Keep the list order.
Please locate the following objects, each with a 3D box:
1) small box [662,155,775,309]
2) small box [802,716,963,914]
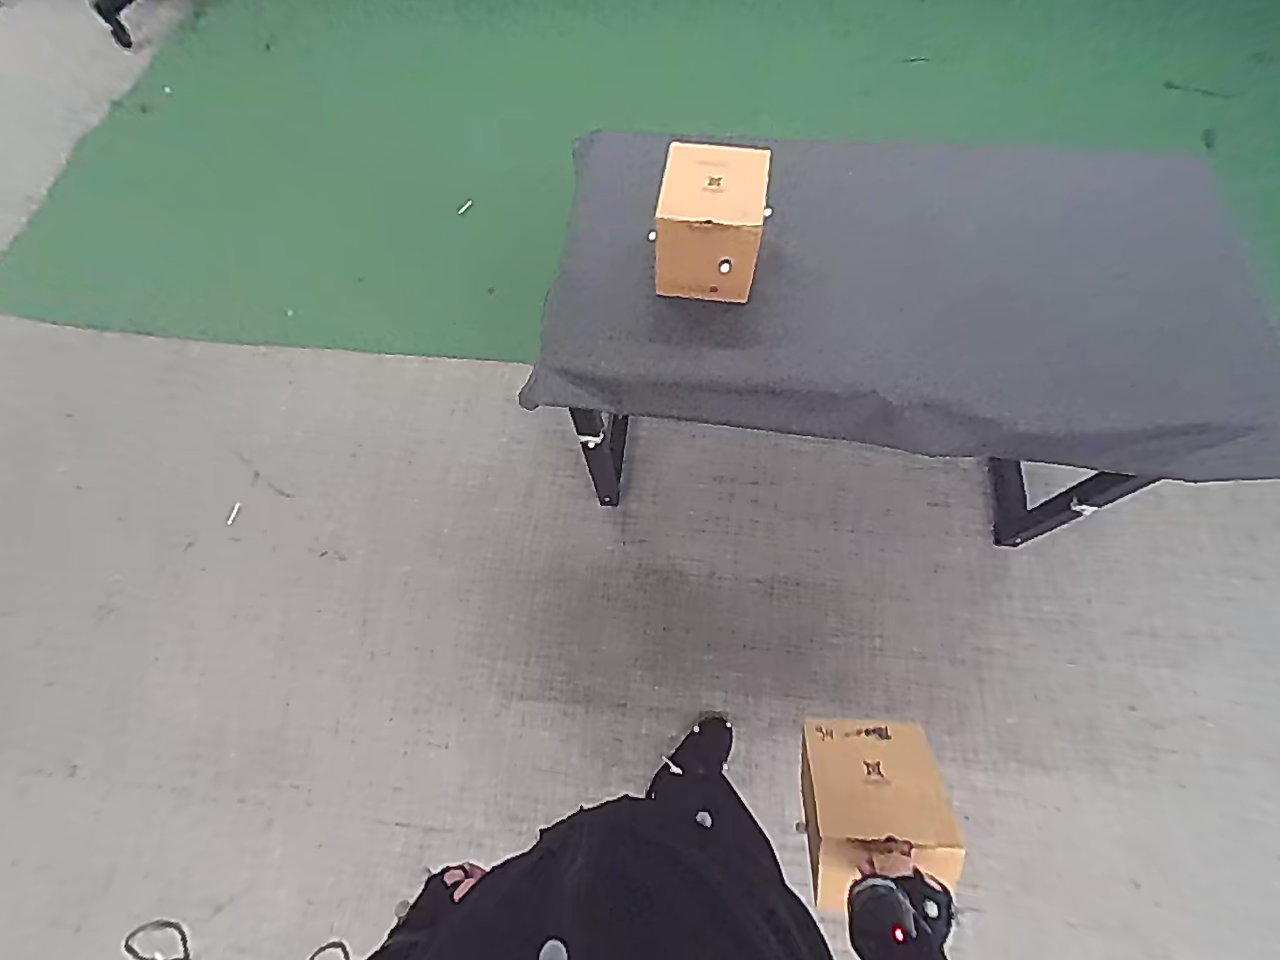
[{"bbox_3d":[0.131,-0.423,0.940,0.168,0.176,0.179,9,66,4],"label":"small box"},{"bbox_3d":[0.319,0.459,0.749,0.168,0.176,0.179,-2,28,10],"label":"small box"}]
